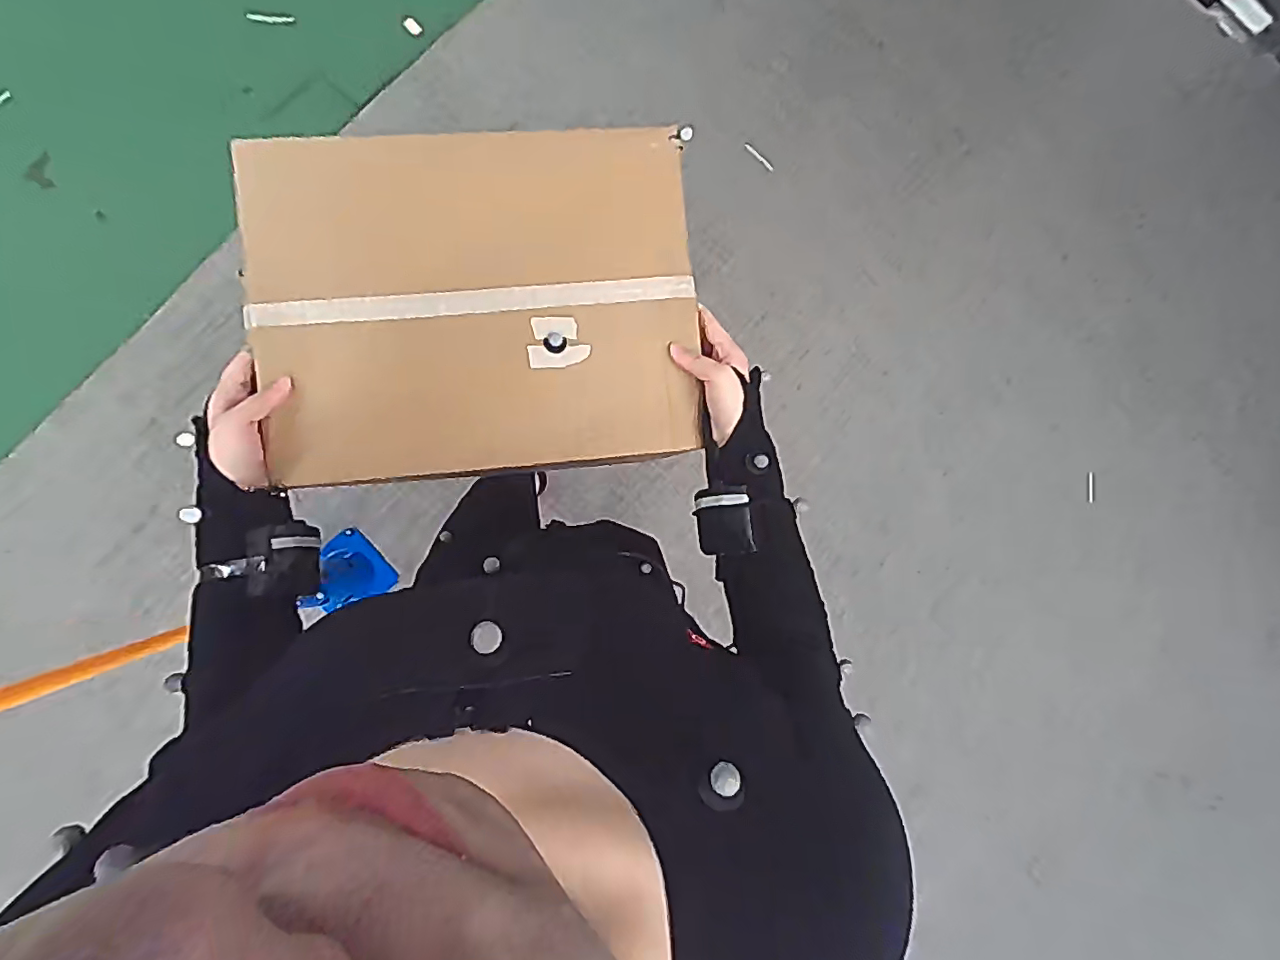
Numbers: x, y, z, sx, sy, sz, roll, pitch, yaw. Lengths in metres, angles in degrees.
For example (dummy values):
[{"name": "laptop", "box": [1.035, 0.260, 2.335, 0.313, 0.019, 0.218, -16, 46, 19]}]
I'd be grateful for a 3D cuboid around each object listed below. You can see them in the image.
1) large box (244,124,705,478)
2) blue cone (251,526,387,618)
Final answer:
[{"name": "large box", "box": [-0.166, -0.178, 0.659, 0.408, 0.320, 0.320, -6, 92, -7]}, {"name": "blue cone", "box": [-0.769, 0.236, 1.259, 0.193, 0.380, 0.192, -40, 91, -6]}]
